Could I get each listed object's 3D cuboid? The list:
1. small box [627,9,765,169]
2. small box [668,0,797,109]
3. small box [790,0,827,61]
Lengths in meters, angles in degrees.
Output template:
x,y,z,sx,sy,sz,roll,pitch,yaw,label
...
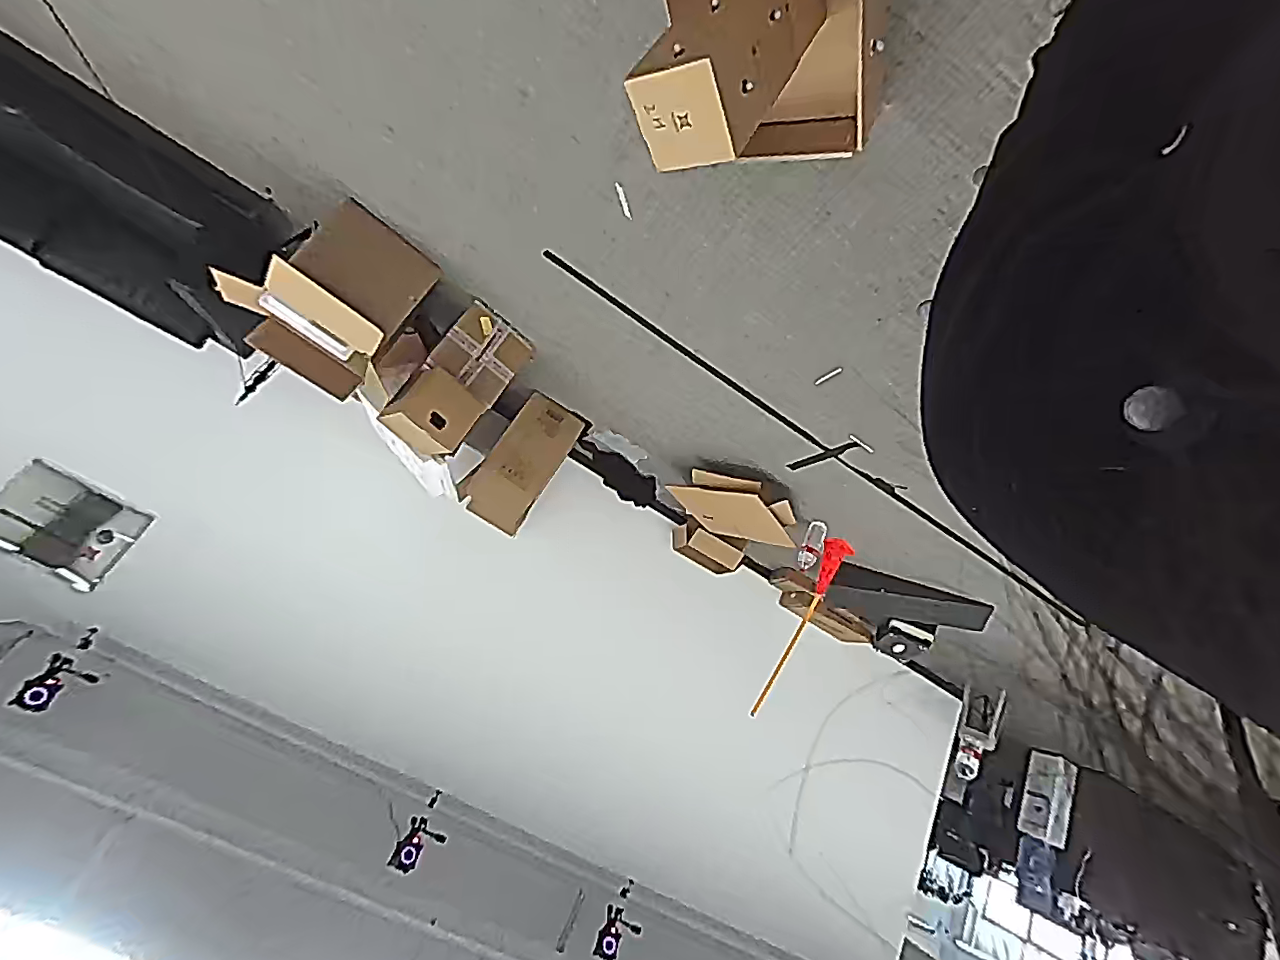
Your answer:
x,y,z,sx,sy,sz,roll,pitch,yaw,label
0.111,-0.699,0.975,0.179,0.176,0.168,14,153,34,small box
0.187,-0.833,1.037,0.179,0.176,0.168,16,155,35,small box
0.260,-0.969,1.085,0.179,0.176,0.168,16,157,30,small box
